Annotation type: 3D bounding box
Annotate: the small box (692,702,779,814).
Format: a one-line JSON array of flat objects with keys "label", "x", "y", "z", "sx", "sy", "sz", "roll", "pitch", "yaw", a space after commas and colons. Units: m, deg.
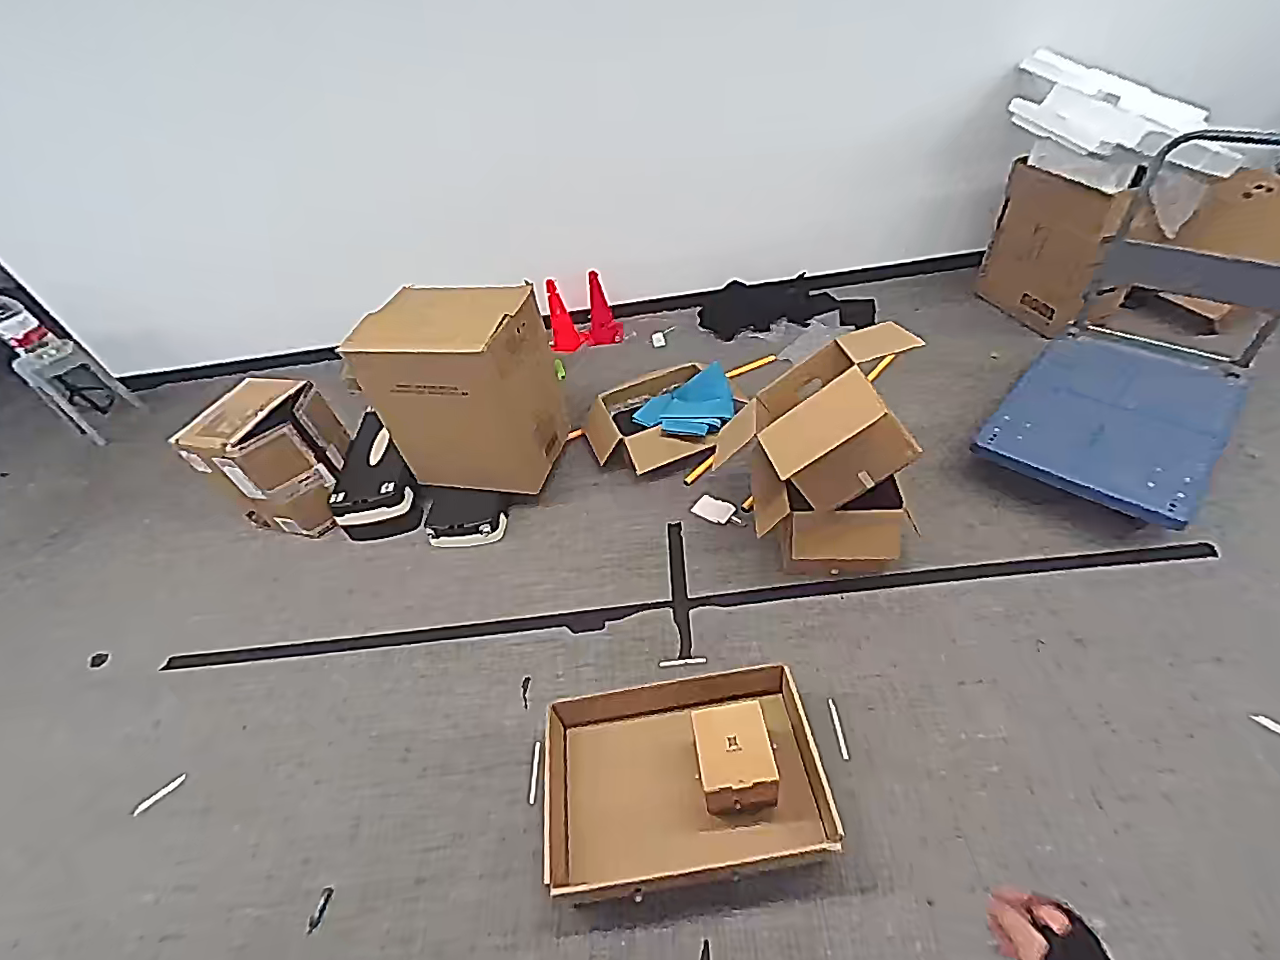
[{"label": "small box", "x": 0.218, "y": 0.651, "z": 1.264, "sx": 0.168, "sy": 0.176, "sz": 0.179, "roll": -10, "pitch": 44, "yaw": 1}]
